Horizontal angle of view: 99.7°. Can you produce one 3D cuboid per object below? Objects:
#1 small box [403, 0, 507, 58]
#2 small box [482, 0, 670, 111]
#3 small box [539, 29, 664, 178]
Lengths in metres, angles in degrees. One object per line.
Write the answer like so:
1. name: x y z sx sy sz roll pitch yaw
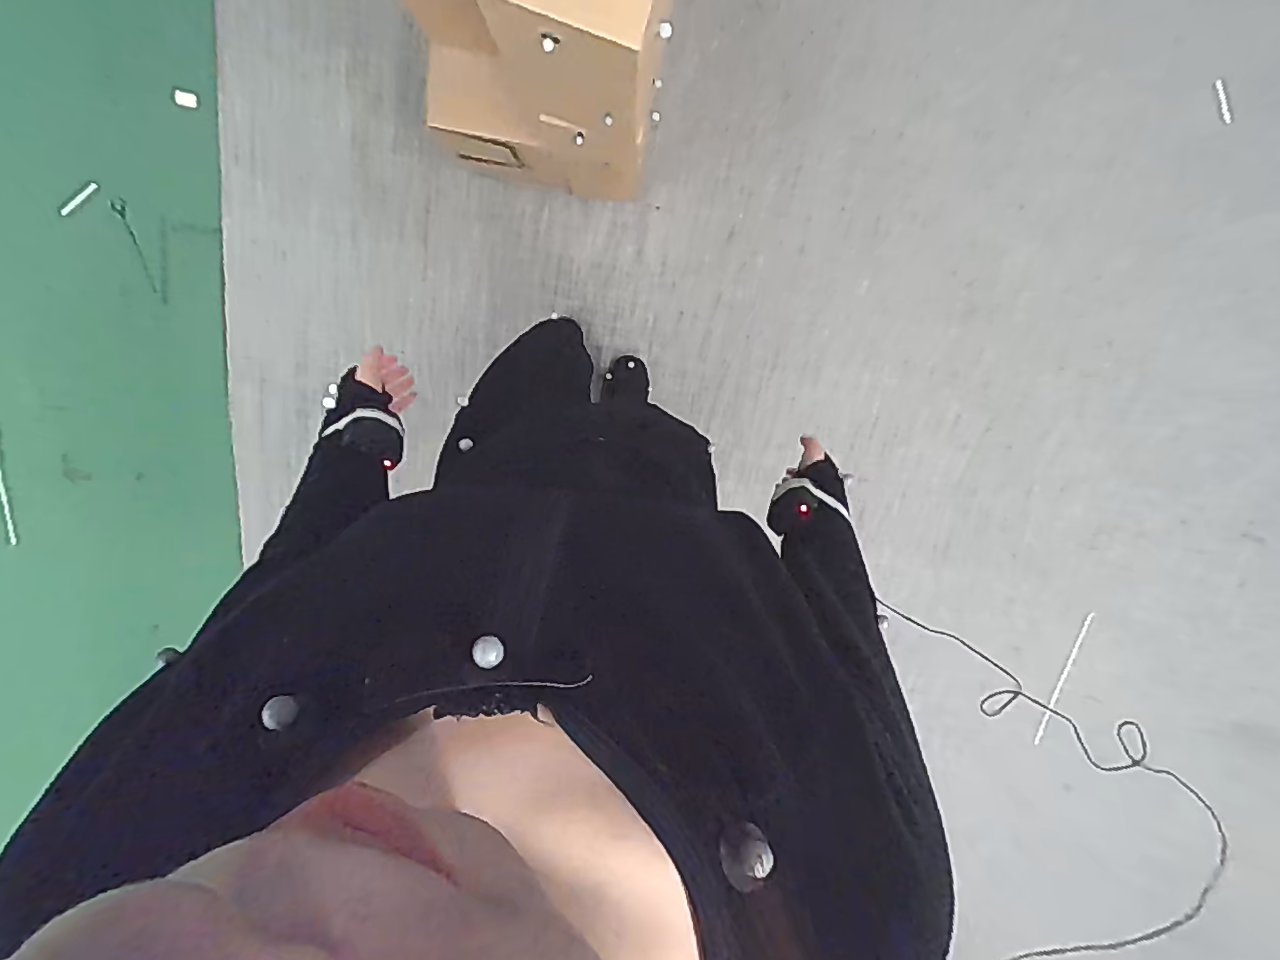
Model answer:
1. small box: -0.270 -0.819 0.870 0.179 0.176 0.168 7 103 -1
2. small box: -0.062 -0.549 0.599 0.179 0.176 0.168 17 105 -7
3. small box: -0.064 -0.645 0.914 0.168 0.176 0.179 13 104 -4
